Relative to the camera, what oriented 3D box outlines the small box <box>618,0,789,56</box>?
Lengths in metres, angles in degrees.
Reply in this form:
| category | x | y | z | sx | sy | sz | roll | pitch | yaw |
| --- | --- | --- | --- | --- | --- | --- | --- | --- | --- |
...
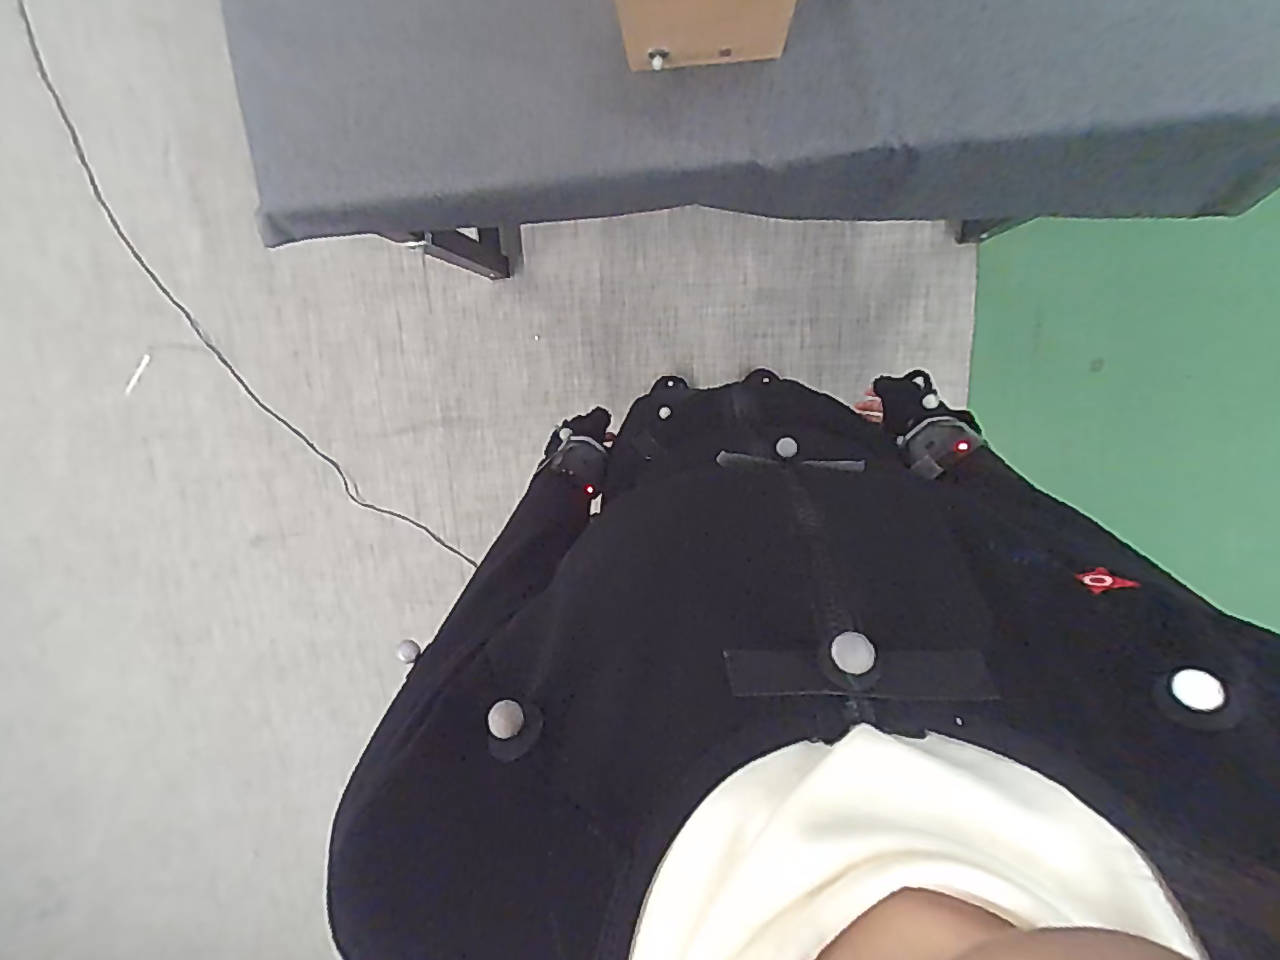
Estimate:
| category | x | y | z | sx | sy | sz | roll | pitch | yaw |
| --- | --- | --- | --- | --- | --- | --- | --- | --- | --- |
| small box | 0.060 | -0.530 | 0.500 | 0.168 | 0.176 | 0.179 | -1 | 101 | 6 |
